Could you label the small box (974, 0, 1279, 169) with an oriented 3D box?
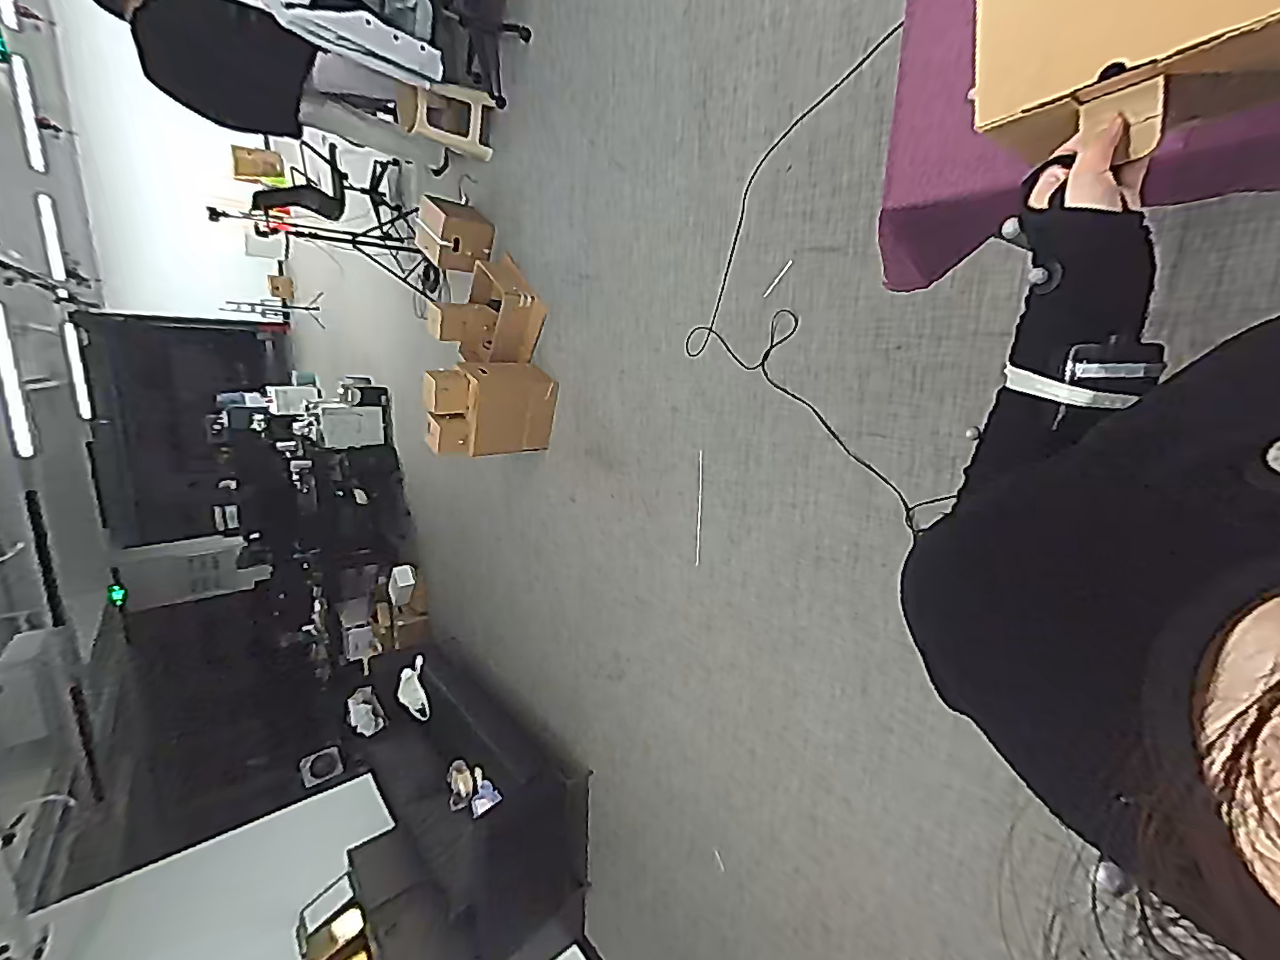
[{"bbox_3d":[0.379,-0.371,0.414,0.168,0.176,0.179,6,105,50],"label":"small box"}]
